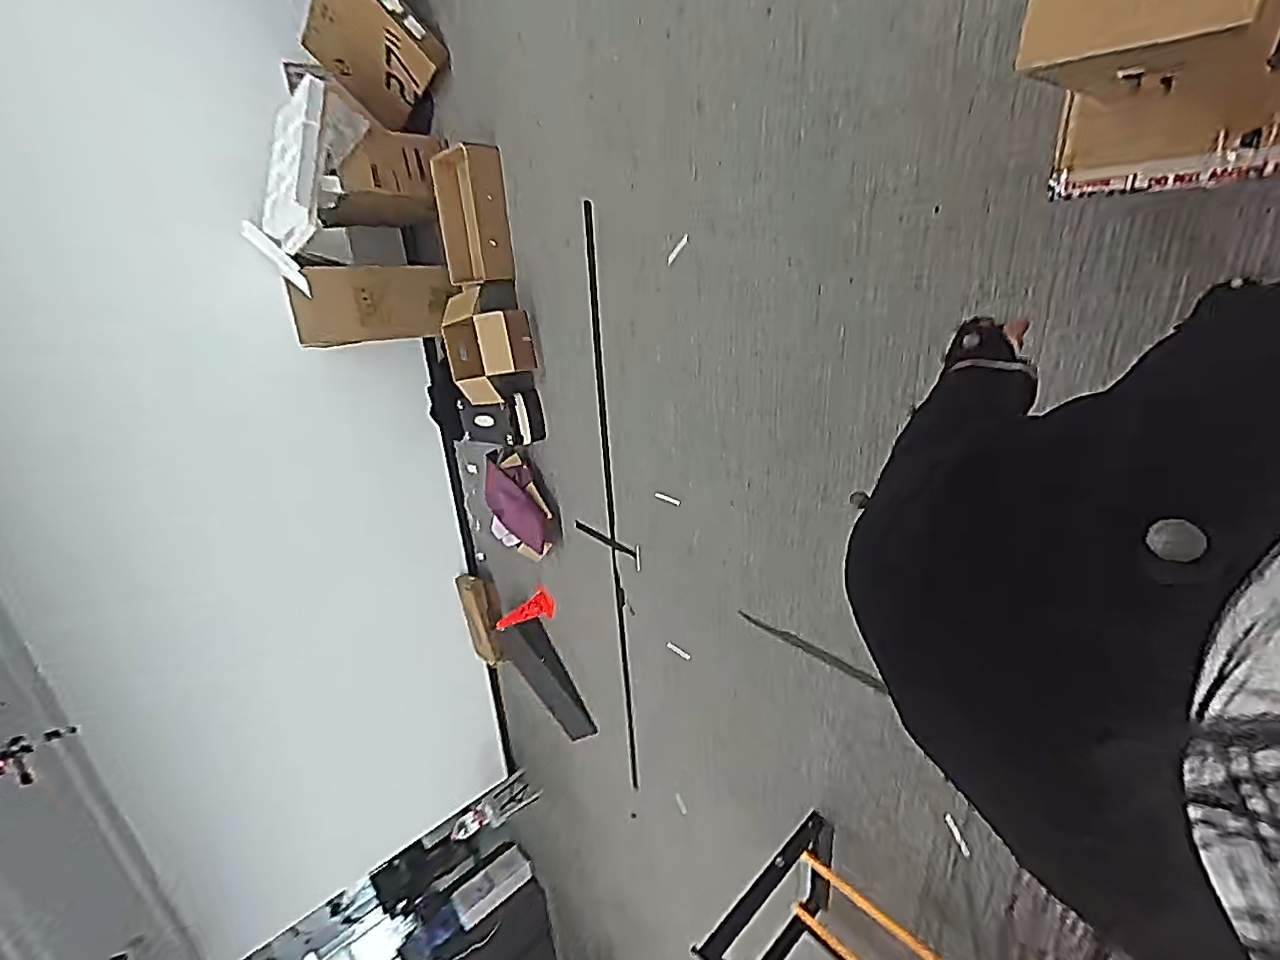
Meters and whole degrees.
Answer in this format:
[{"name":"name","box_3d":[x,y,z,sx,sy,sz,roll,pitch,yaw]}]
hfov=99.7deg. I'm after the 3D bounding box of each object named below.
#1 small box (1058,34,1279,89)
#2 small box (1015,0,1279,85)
[{"name":"small box","box_3d":[0.591,-0.537,0.576,0.168,0.176,0.179,25,127,45]},{"name":"small box","box_3d":[0.474,-0.478,0.478,0.168,0.176,0.179,25,128,46]}]
